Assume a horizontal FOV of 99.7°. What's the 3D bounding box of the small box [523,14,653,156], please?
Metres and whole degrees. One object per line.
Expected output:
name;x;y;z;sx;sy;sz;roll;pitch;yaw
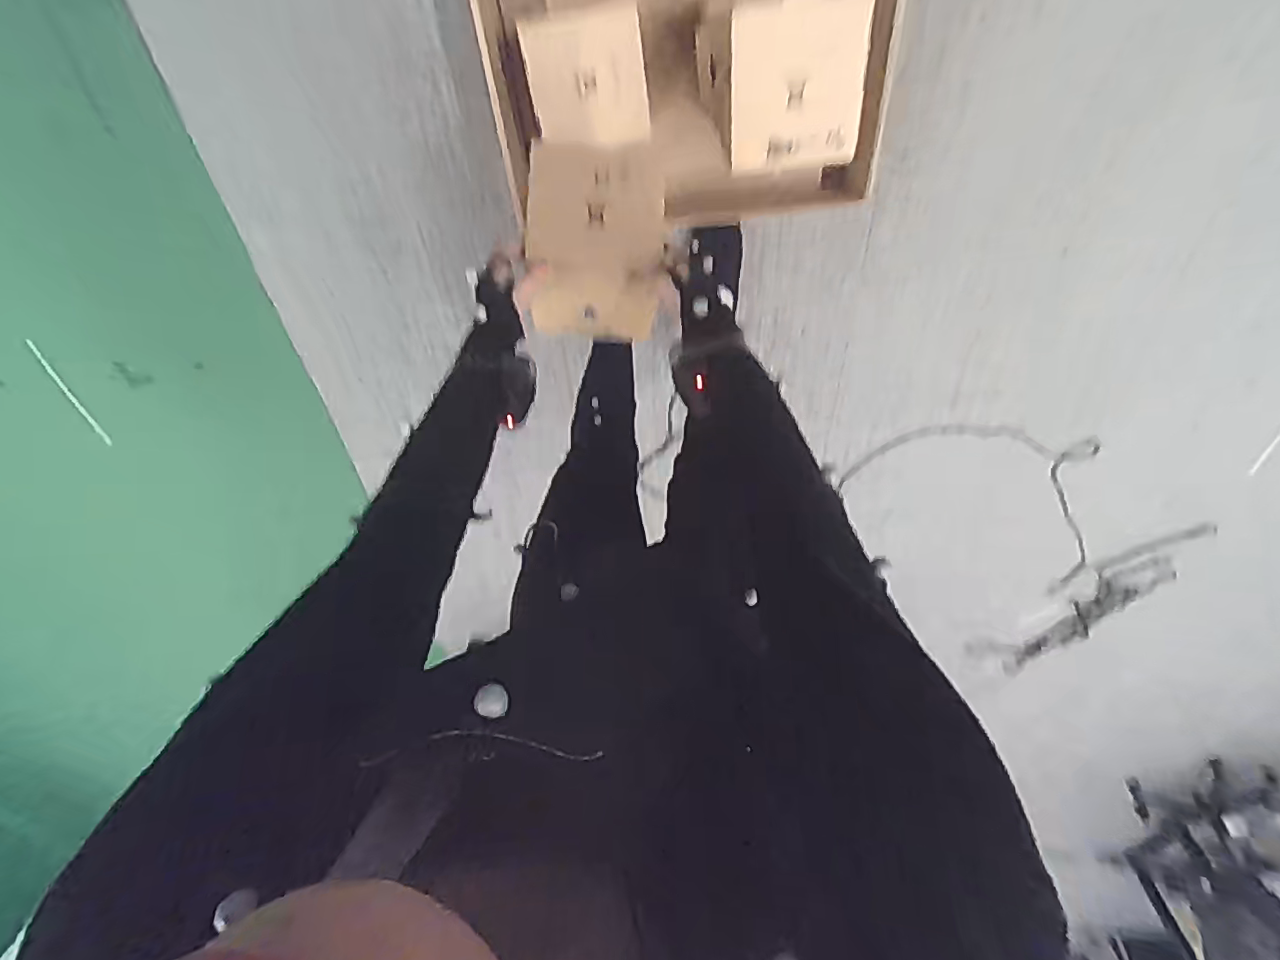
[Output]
small box;-0.074;-0.635;0.880;0.179;0.176;0.168;-7;129;4

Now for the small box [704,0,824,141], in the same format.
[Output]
small box;0.195;-0.657;0.856;0.179;0.176;0.168;-7;130;7

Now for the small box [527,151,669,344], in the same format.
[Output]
small box;-0.055;-0.298;0.727;0.168;0.179;0.176;3;170;-5

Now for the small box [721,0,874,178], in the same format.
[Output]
small box;0.201;-0.535;0.745;0.168;0.176;0.179;-4;128;5
